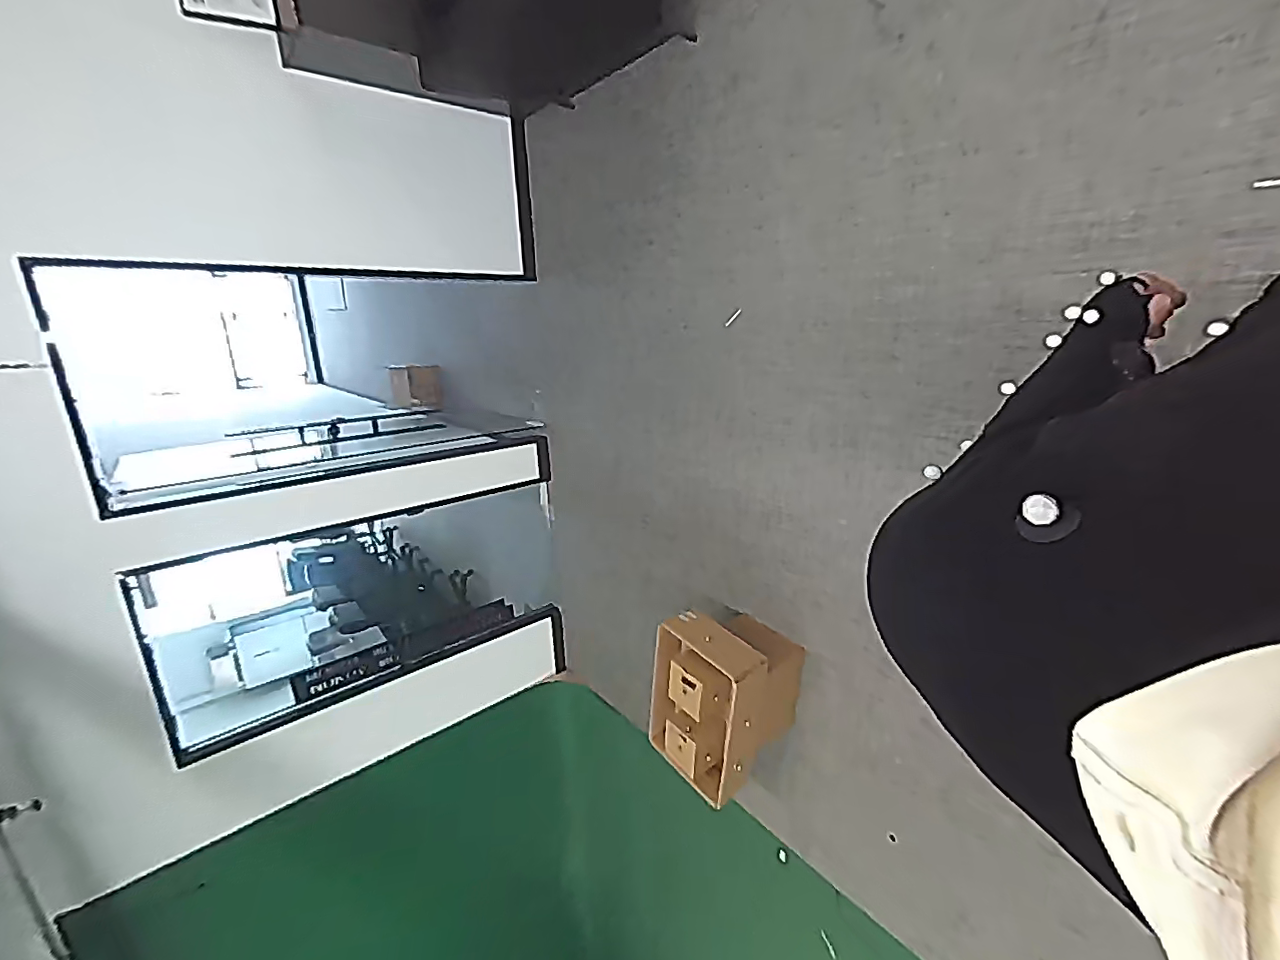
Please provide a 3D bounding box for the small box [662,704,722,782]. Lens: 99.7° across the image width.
[{"bbox_3d":[0.204,1.018,2.106,0.168,0.176,0.179,23,119,46],"label":"small box"}]
